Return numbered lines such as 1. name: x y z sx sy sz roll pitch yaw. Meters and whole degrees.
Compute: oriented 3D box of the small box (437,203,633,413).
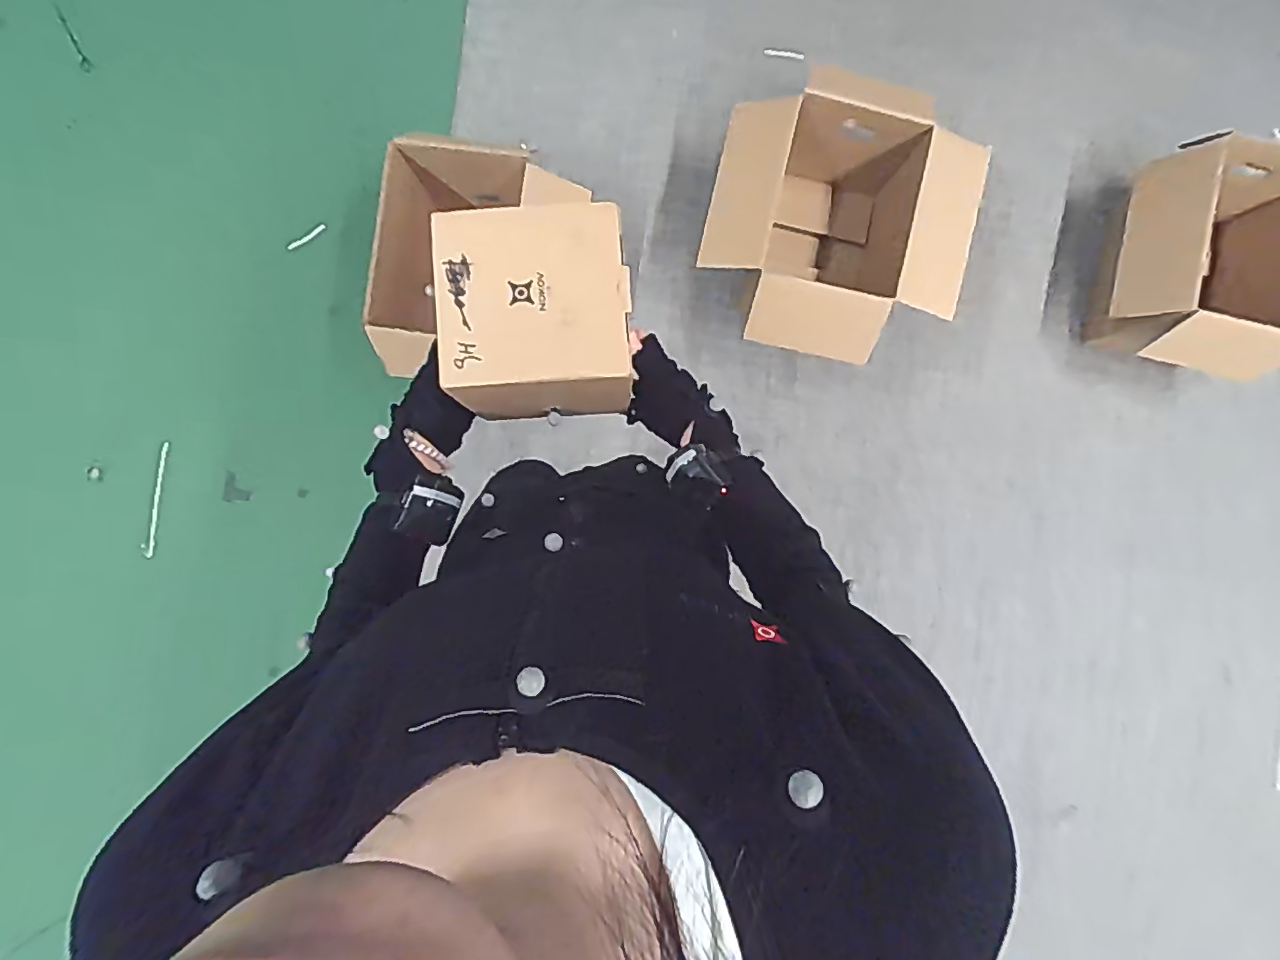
1. small box: -0.103 -0.170 0.577 0.179 0.176 0.168 -3 86 -4
